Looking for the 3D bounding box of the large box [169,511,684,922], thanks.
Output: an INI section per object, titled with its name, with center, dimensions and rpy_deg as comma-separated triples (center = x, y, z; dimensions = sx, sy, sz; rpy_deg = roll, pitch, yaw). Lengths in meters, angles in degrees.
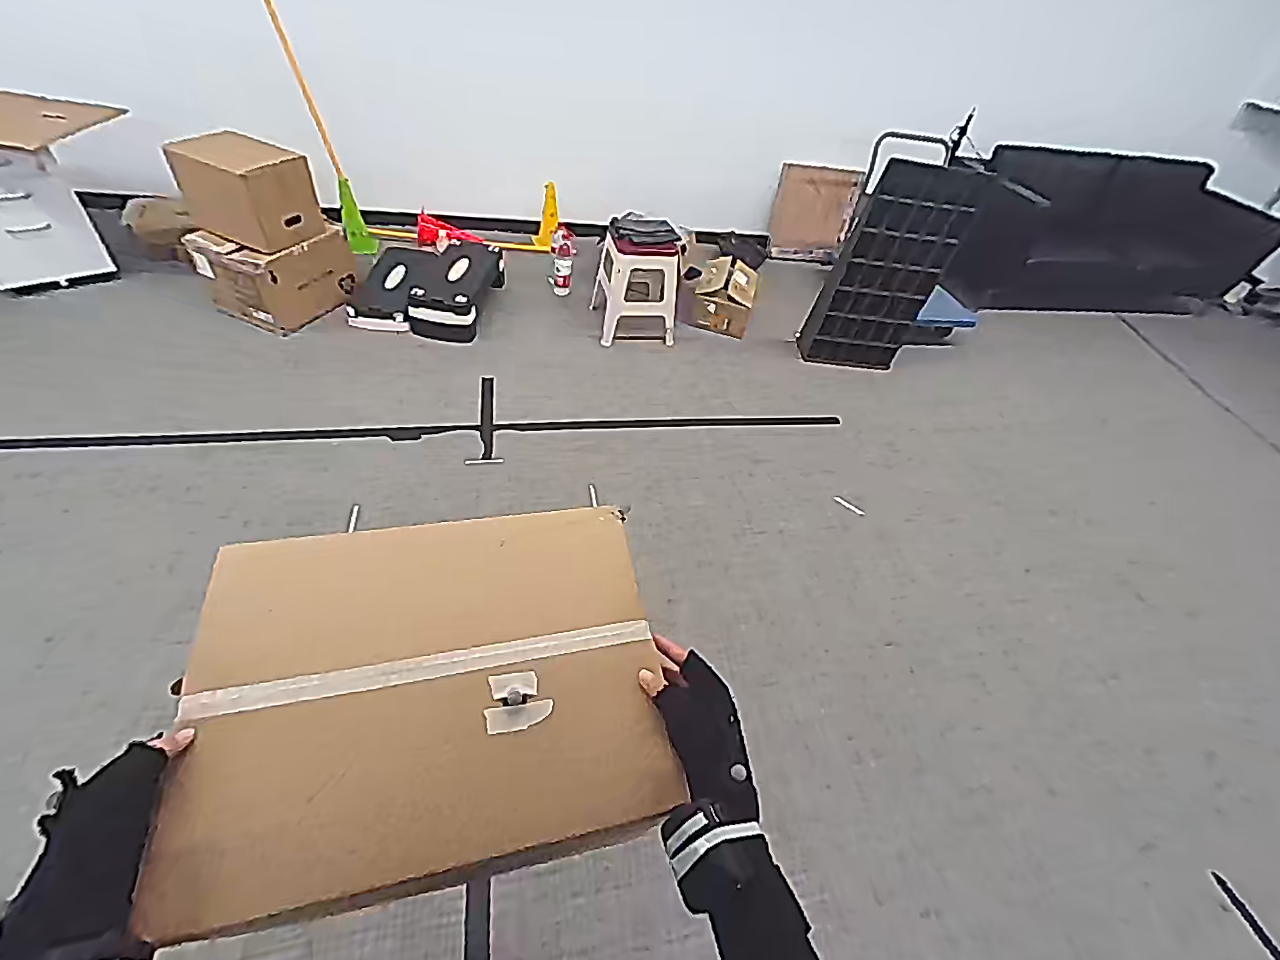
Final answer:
[large box]
center = -0.206, 0.265, 0.635
dimensions = 0.408, 0.320, 0.320
rpy_deg = -5, 55, -15
